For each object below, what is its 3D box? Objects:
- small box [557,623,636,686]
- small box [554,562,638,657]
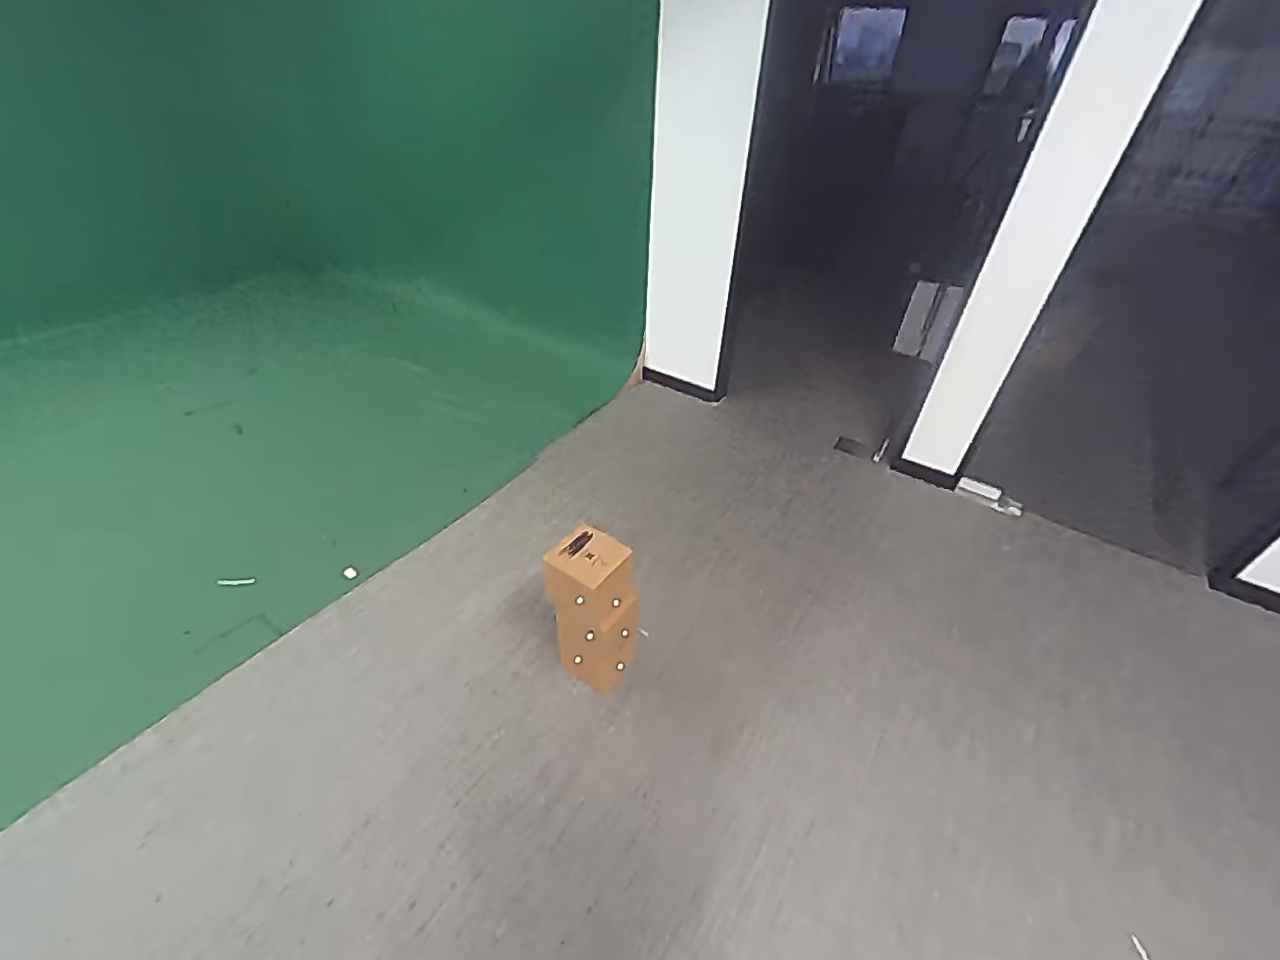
[{"bbox_3d":[-0.129,0.496,1.646,0.179,0.176,0.168,24,45,24],"label":"small box"},{"bbox_3d":[-0.121,0.373,1.536,0.179,0.176,0.168,25,45,24],"label":"small box"}]
